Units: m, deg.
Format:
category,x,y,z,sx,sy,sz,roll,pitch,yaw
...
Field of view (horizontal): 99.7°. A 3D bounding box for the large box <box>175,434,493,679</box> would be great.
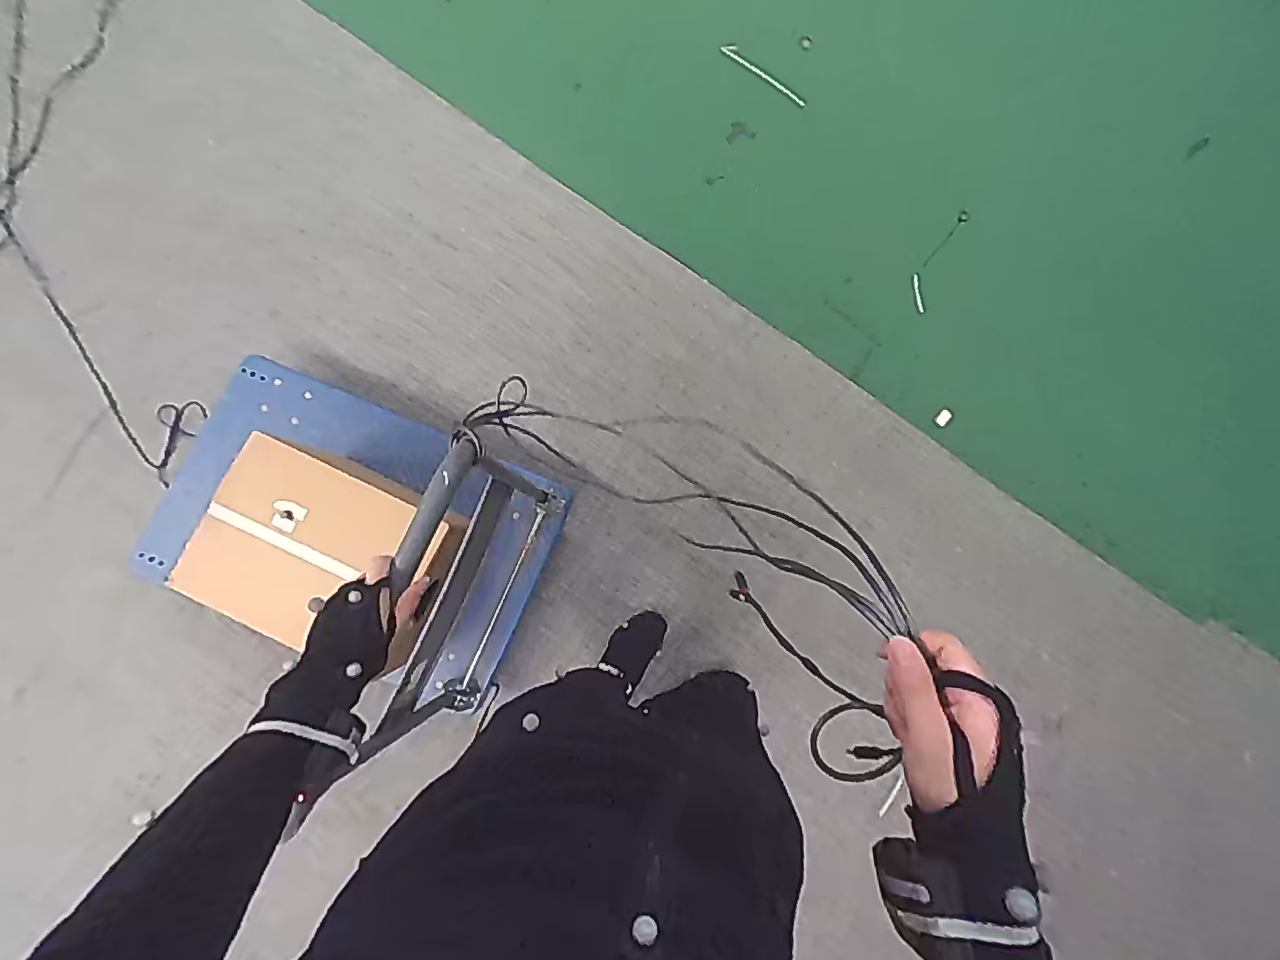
category,x,y,z,sx,sy,sz,roll,pitch,yaw
large box,-0.575,0.148,1.104,0.408,0.320,0.320,25,83,2
